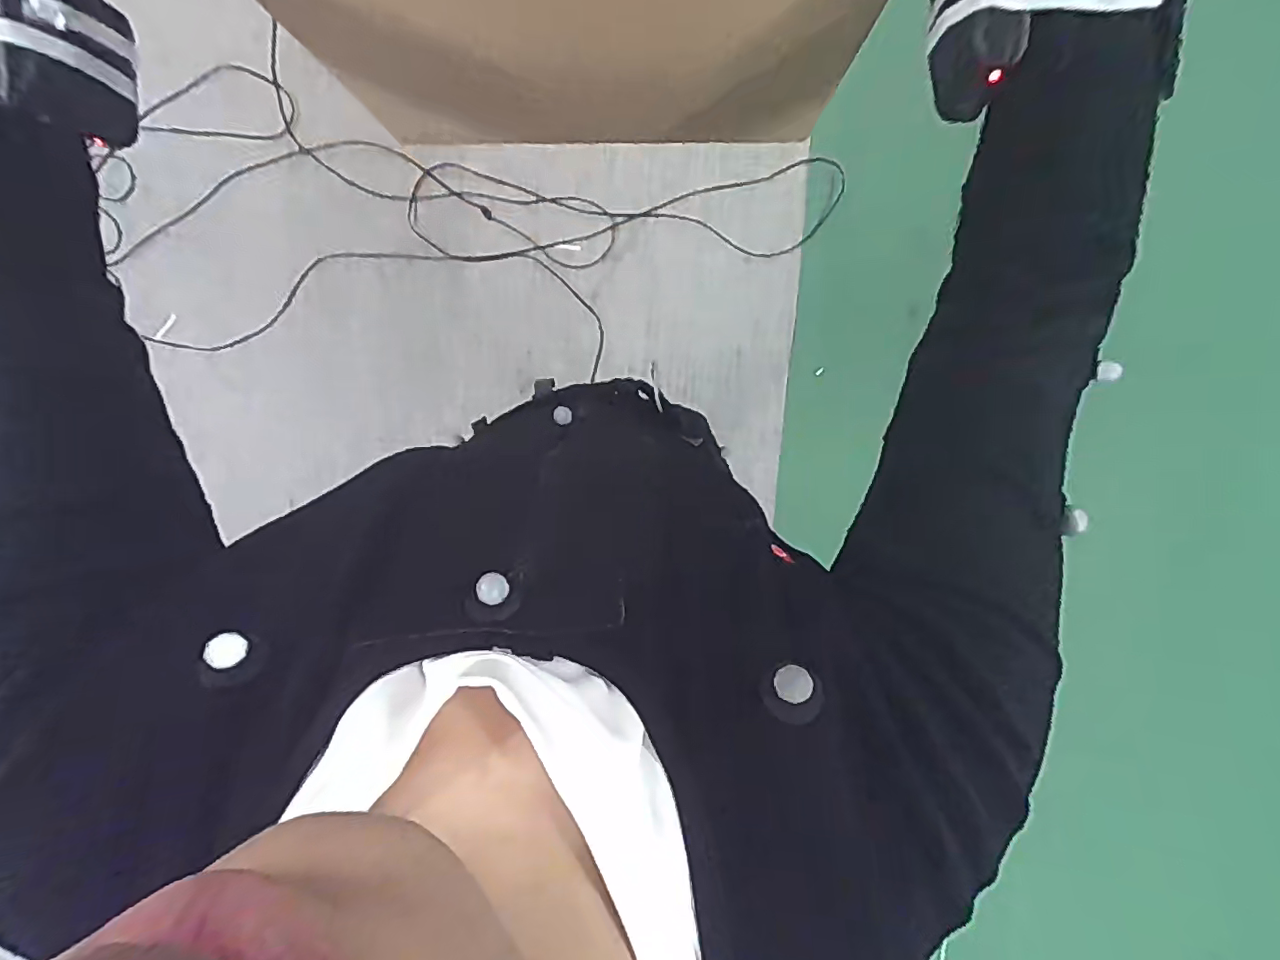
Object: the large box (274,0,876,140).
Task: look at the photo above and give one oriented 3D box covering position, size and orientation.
[{"bbox_3d":[-0.043,-0.462,0.356,0.408,0.320,0.320,0,99,1],"label":"large box"}]
